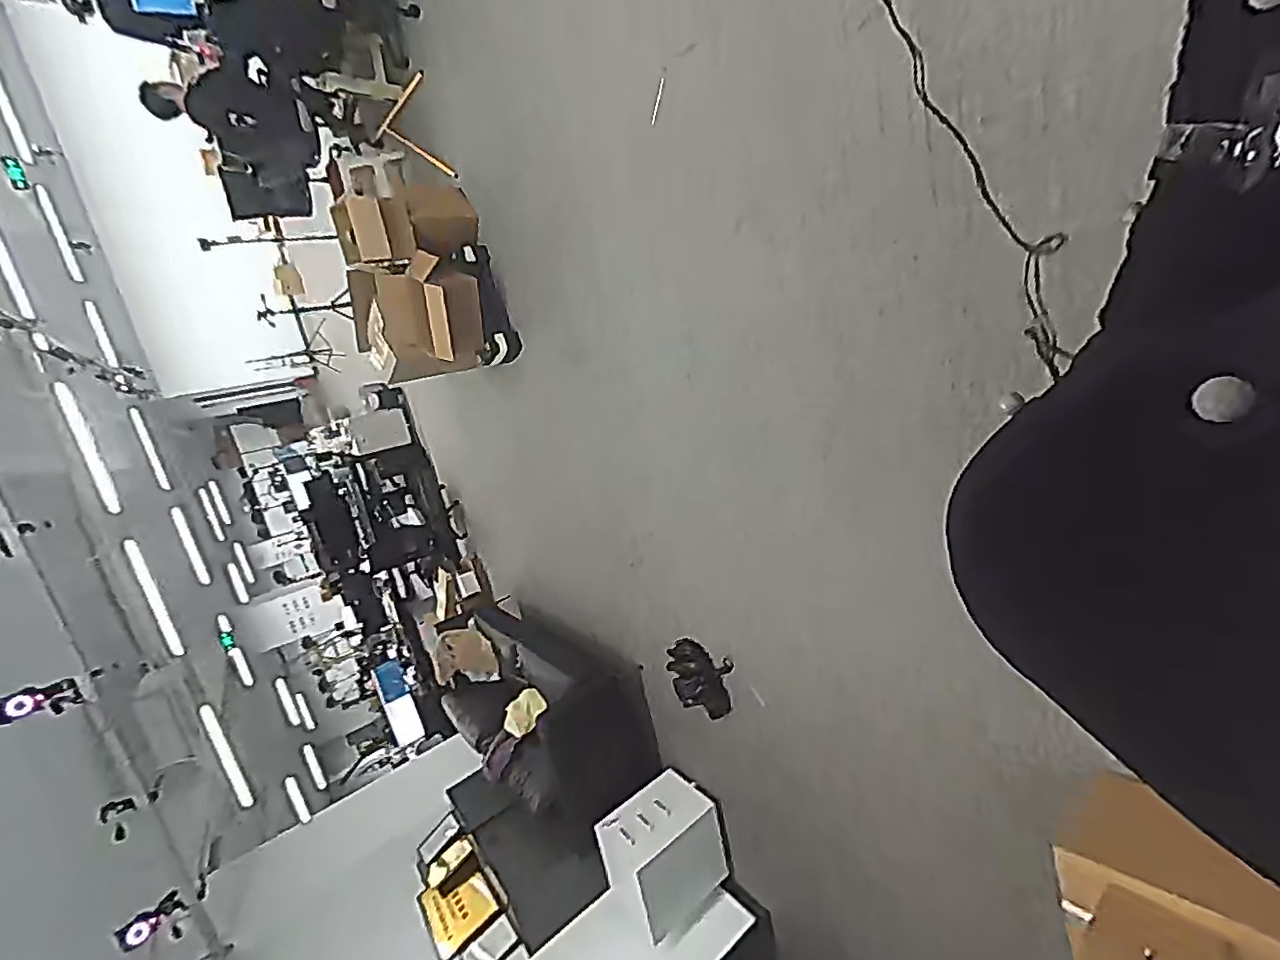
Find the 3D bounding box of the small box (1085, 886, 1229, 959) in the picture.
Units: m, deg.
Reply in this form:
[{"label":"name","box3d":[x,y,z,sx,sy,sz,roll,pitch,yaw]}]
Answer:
[{"label":"small box","box3d":[1.006,0.950,1.048,0.179,0.176,0.168,-1,106,57]}]
